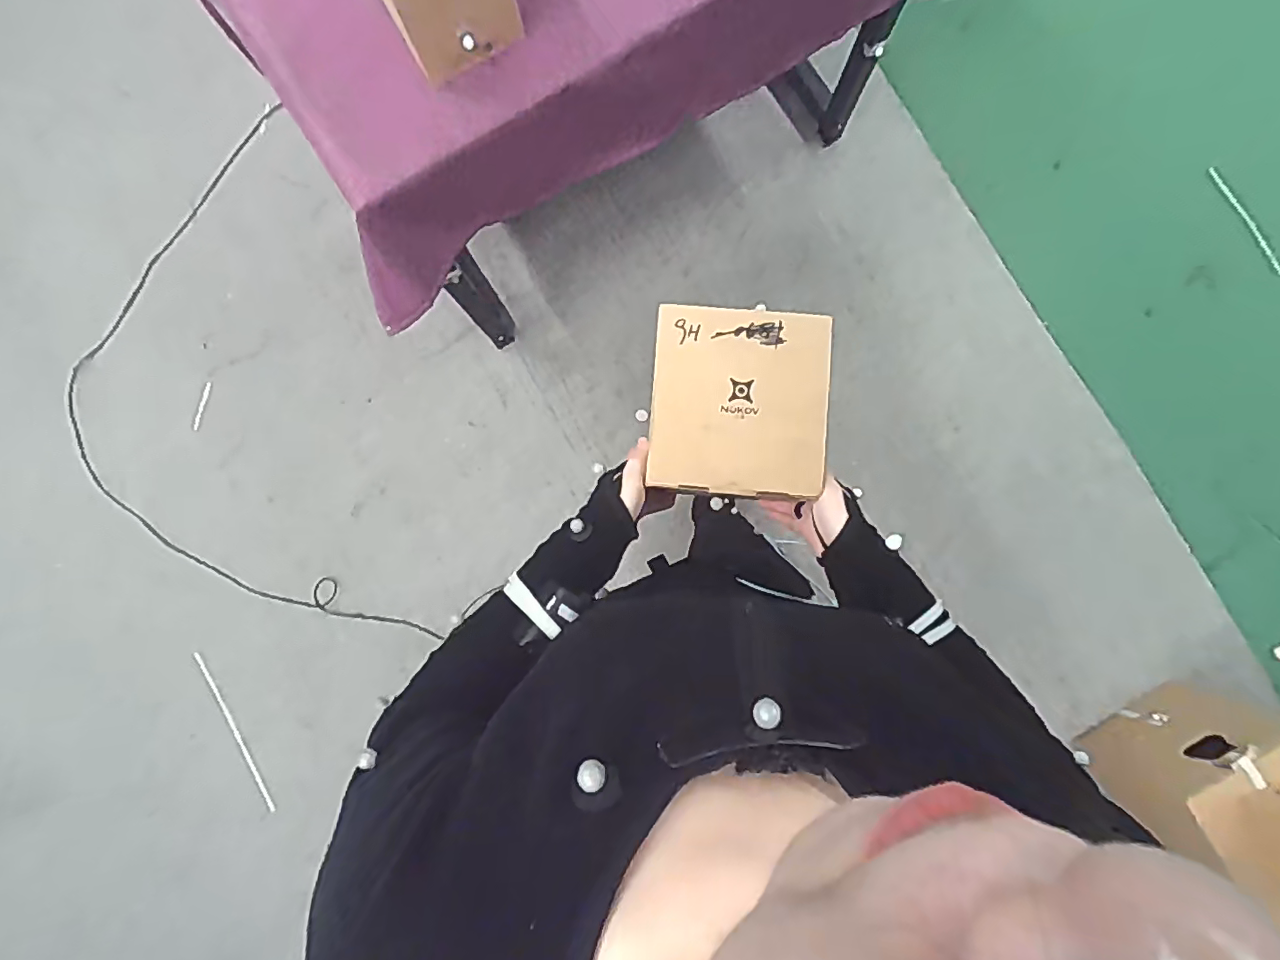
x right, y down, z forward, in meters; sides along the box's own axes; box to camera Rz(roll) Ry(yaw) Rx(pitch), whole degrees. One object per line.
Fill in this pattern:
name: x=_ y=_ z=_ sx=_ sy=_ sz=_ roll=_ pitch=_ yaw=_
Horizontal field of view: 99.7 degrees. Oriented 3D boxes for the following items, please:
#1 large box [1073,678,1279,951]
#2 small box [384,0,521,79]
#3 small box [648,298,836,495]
large box: x=1.371 y=0.758 z=1.280 sx=0.320 sy=0.320 sz=0.408 roll=-31 pitch=87 yaw=-1
small box: x=-0.291 y=-0.726 z=0.757 sx=0.168 sy=0.176 sz=0.179 roll=-30 pitch=86 yaw=-1
small box: x=0.098 y=-0.078 z=0.587 sx=0.168 sy=0.176 sz=0.179 roll=4 pitch=89 yaw=0
